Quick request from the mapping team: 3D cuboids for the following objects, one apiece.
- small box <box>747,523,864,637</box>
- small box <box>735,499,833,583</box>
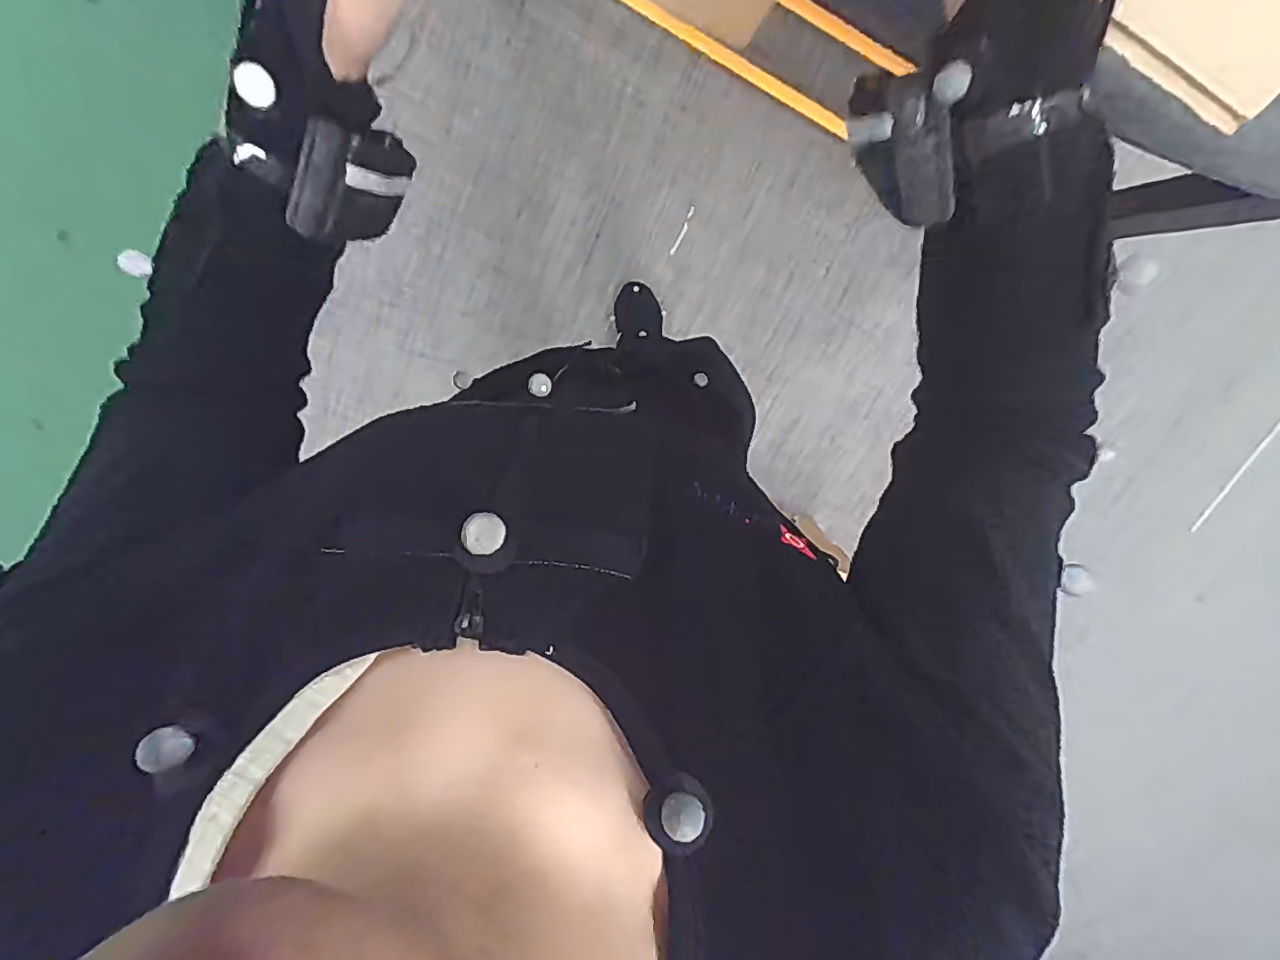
[{"bbox_3d":[0.361,0.216,1.212,0.179,0.176,0.168,20,107,-5],"label":"small box"},{"bbox_3d":[0.354,0.170,1.370,0.168,0.176,0.179,20,108,-6],"label":"small box"}]
